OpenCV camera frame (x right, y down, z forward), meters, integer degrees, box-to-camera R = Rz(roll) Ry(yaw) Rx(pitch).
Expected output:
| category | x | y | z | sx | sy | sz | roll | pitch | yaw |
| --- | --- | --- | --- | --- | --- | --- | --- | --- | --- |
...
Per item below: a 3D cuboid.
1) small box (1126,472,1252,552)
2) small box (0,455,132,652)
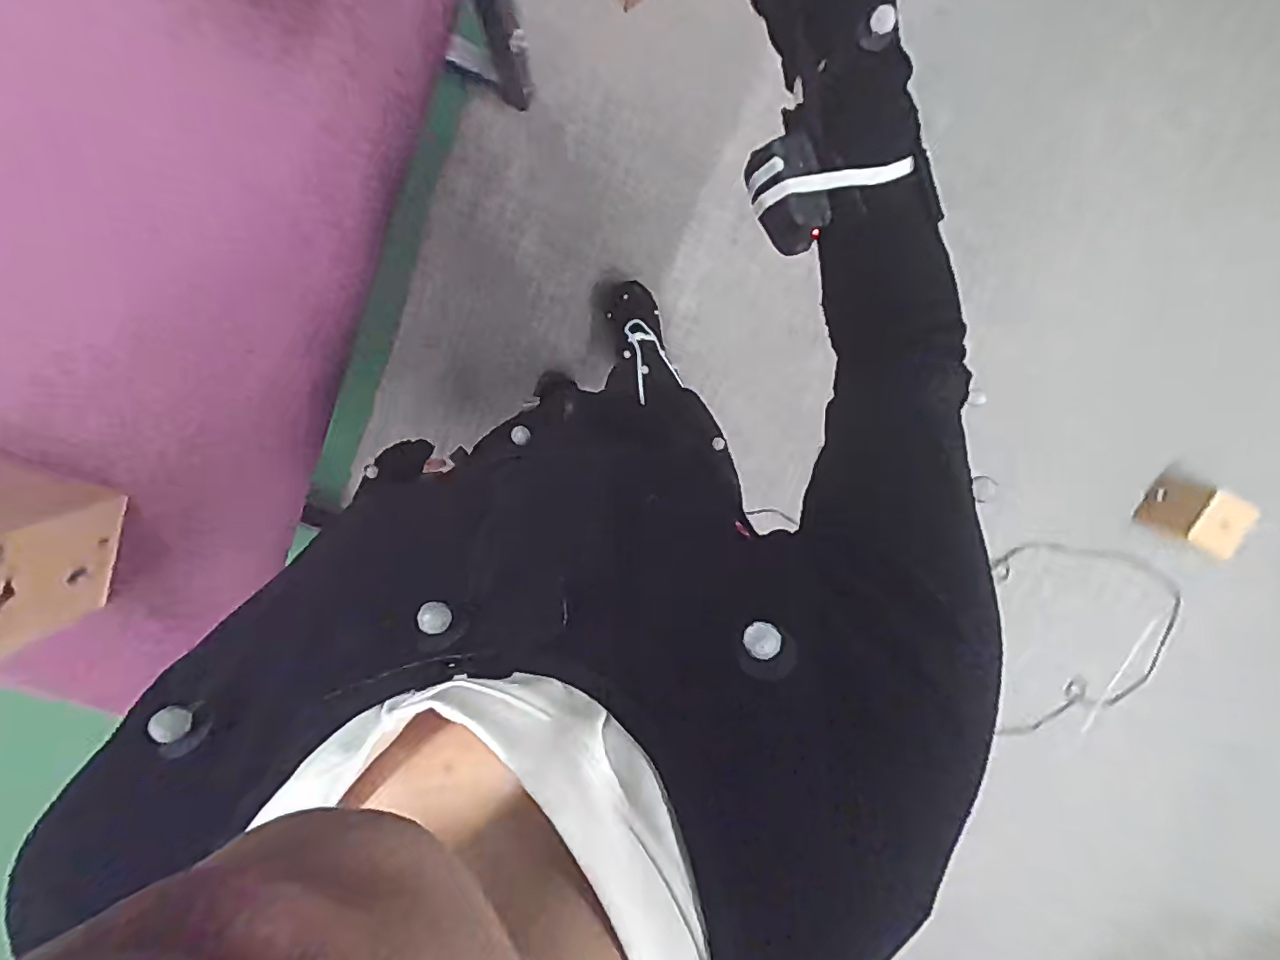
| category | x | y | z | sx | sy | sz | roll | pitch | yaw |
| --- | --- | --- | --- | --- | --- | --- | --- | --- | --- |
| small box | 1.656 | 0.090 | 1.641 | 0.179 | 0.176 | 0.168 | 24 | 100 | -12 |
| small box | -0.749 | 0.080 | 0.613 | 0.179 | 0.176 | 0.168 | 19 | 101 | -12 |
